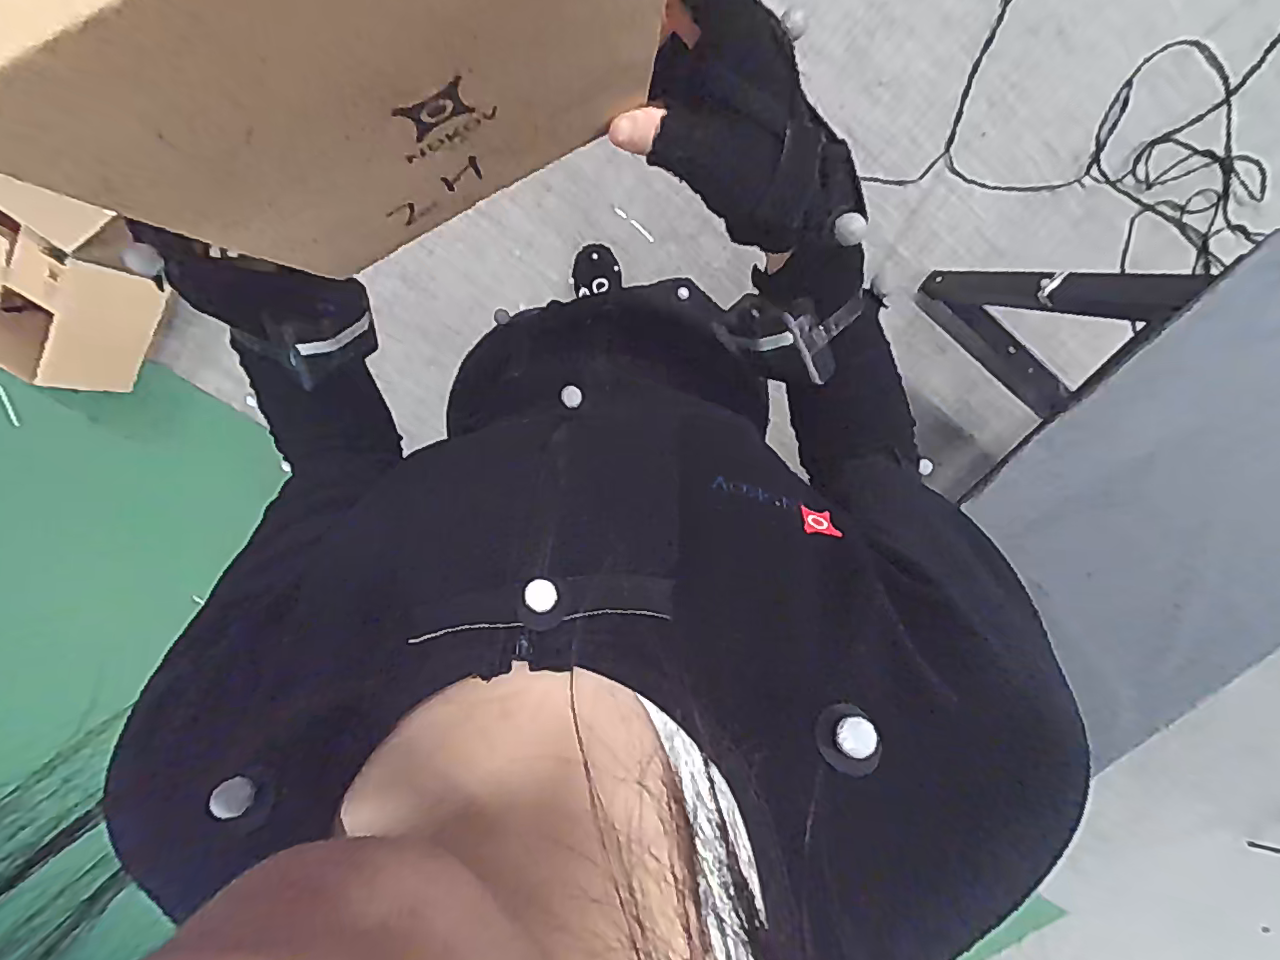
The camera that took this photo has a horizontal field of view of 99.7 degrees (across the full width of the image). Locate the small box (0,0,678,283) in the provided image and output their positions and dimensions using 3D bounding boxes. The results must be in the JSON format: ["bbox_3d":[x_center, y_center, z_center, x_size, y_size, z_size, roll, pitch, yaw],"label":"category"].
[{"bbox_3d":[-0.098,-0.186,0.155,0.168,0.179,0.176,-28,103,1],"label":"small box"}]
